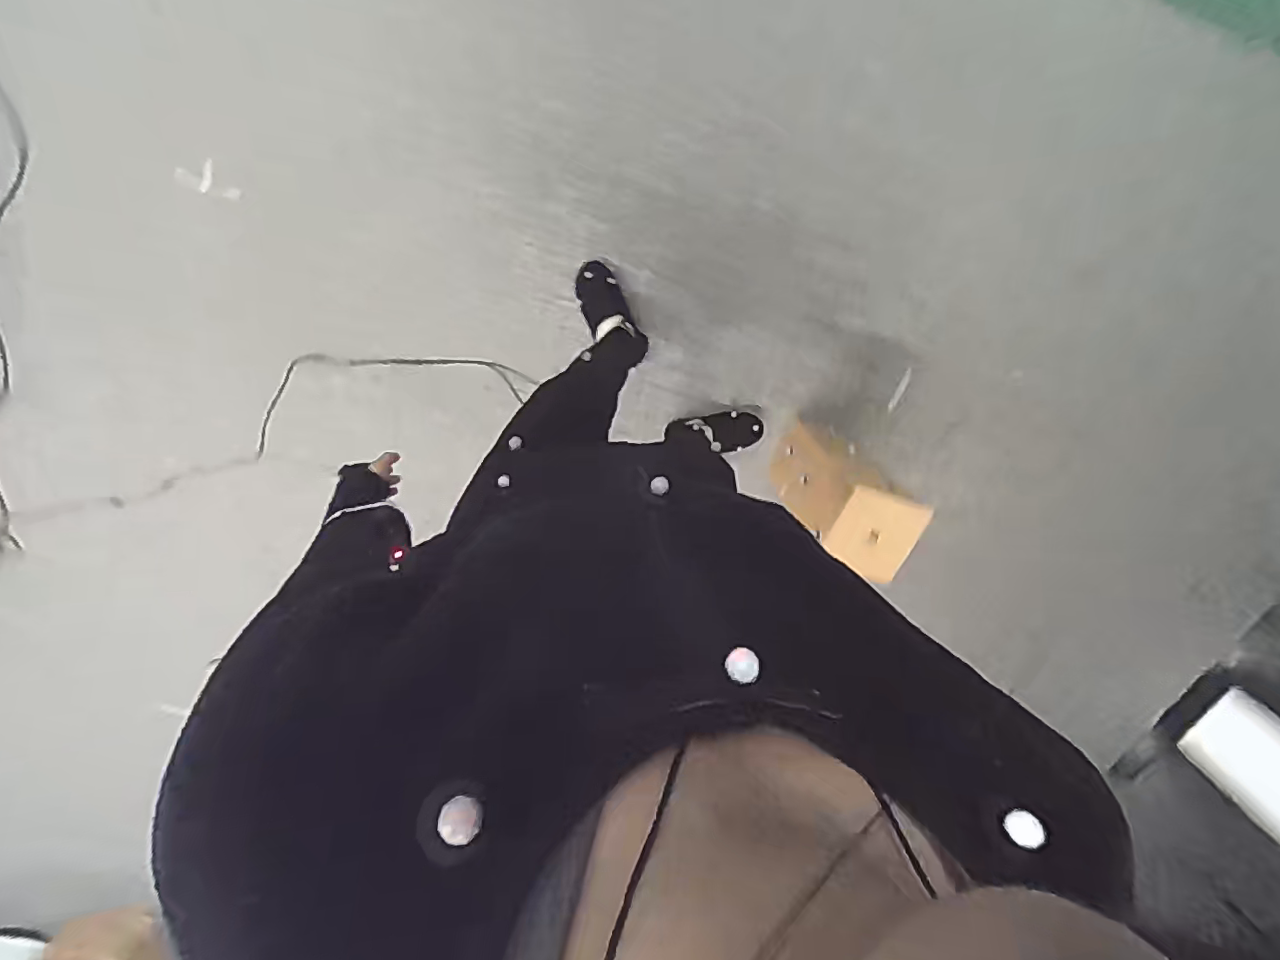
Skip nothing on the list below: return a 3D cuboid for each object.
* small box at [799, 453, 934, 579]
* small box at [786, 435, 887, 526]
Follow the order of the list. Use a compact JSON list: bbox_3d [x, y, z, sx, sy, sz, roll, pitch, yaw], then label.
[{"bbox_3d":[0.446,0.066,1.102,0.168,0.176,0.179,19,113,-7],"label":"small box"},{"bbox_3d":[0.457,0.017,1.257,0.168,0.176,0.179,17,111,-6],"label":"small box"}]
